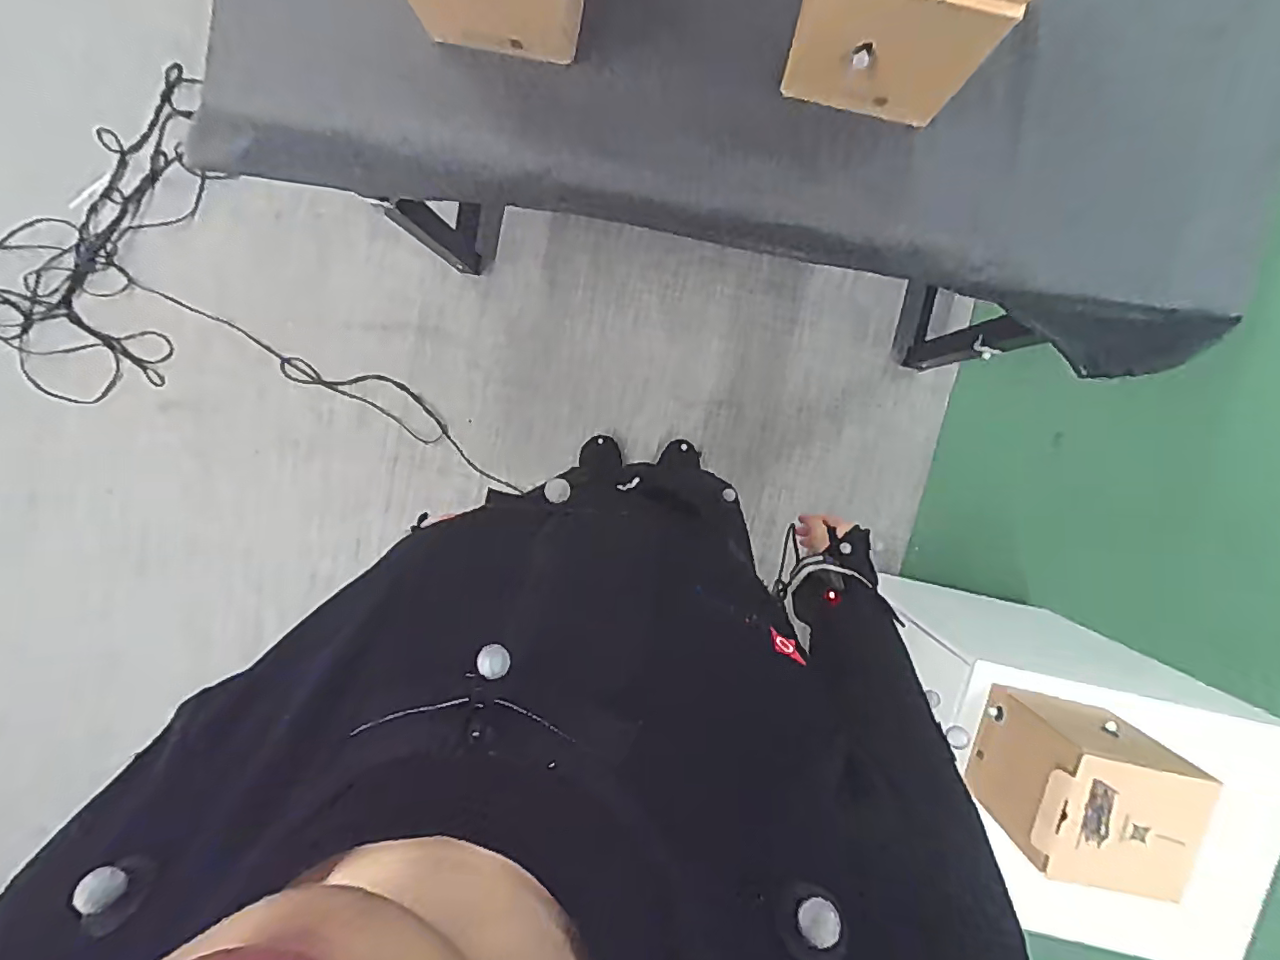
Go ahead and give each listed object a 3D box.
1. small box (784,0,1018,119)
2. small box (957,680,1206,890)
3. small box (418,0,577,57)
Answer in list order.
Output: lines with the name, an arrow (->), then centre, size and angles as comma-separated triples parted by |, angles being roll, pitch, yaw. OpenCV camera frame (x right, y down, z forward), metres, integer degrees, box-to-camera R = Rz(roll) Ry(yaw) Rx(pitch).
small box -> 0.247, -0.485, 0.510 | 0.168, 0.176, 0.179 | 13, 95, 0
small box -> 0.569, 0.392, 0.726 | 0.179, 0.176, 0.168 | 13, 97, -1
small box -> -0.144, -0.558, 0.509 | 0.168, 0.176, 0.179 | 11, 95, 0
